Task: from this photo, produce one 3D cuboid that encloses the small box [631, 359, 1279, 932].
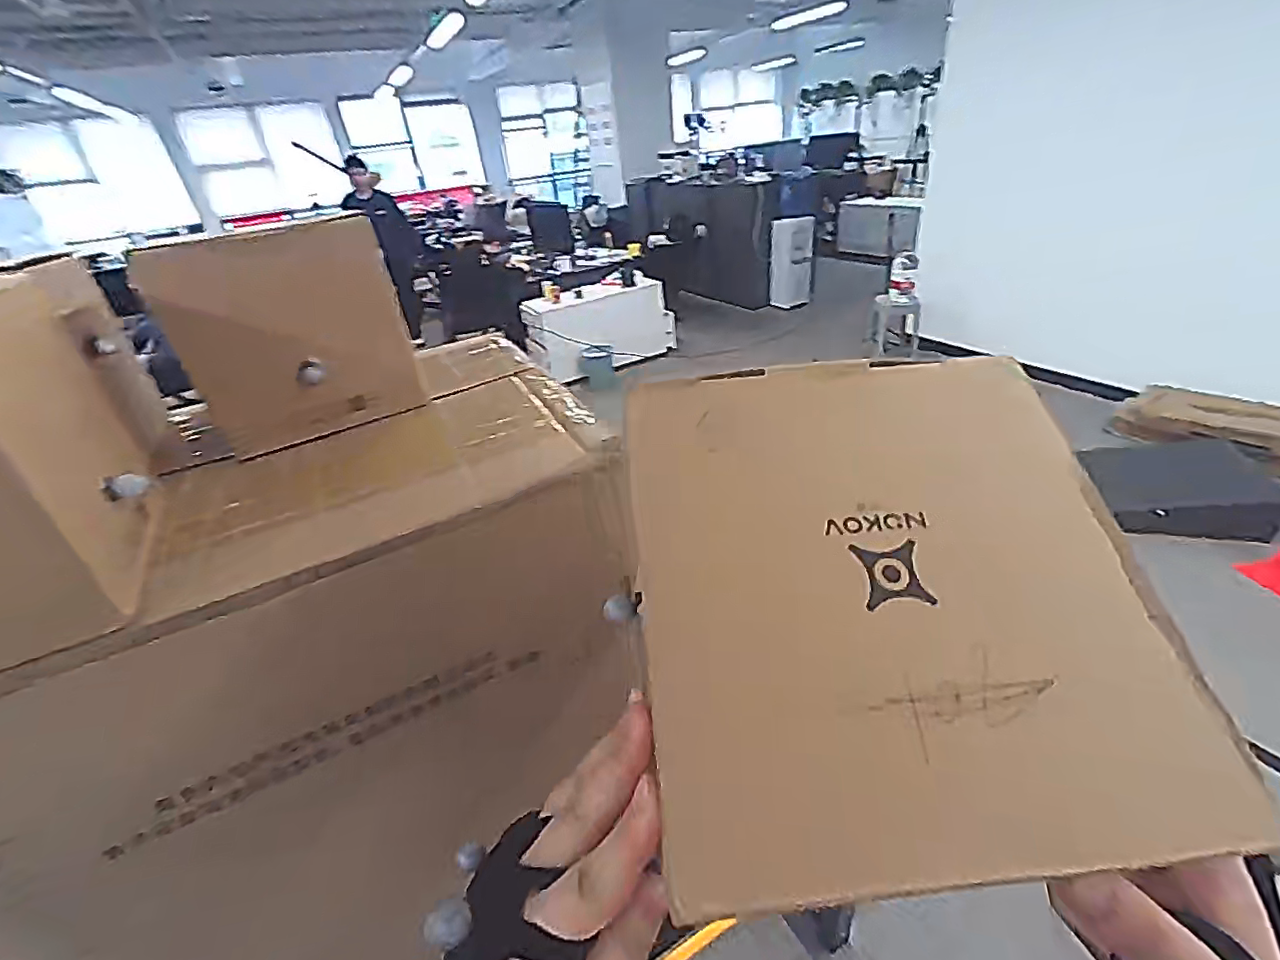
[{"bbox_3d":[0.083,0.070,0.247,0.168,0.176,0.179,-5,61,-3],"label":"small box"}]
